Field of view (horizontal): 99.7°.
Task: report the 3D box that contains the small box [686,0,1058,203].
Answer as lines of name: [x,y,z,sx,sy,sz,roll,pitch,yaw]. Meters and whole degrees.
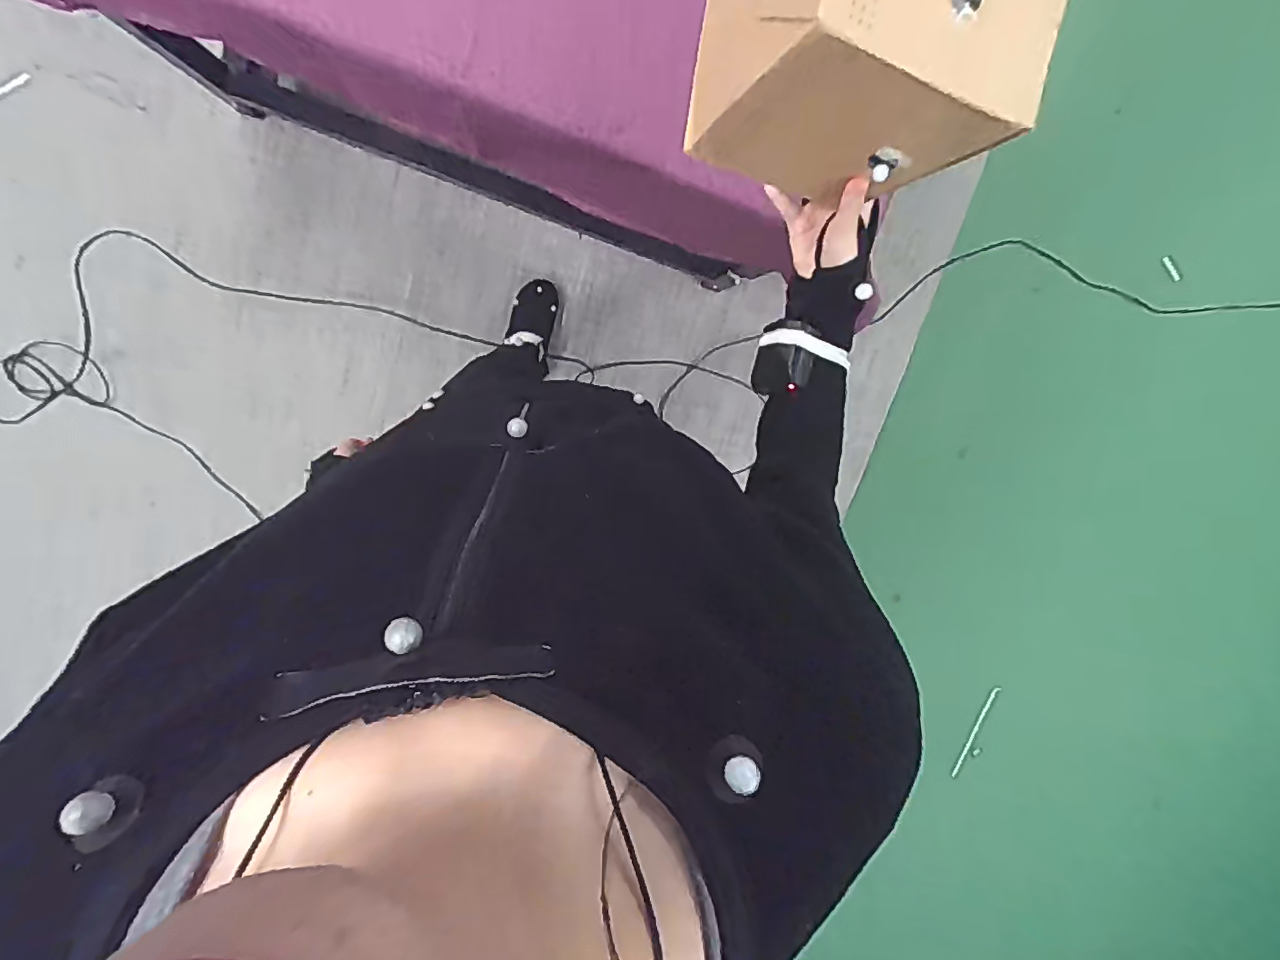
small box: [0.148,-0.322,0.370,0.176,0.179,0.168,7,97,-21]
